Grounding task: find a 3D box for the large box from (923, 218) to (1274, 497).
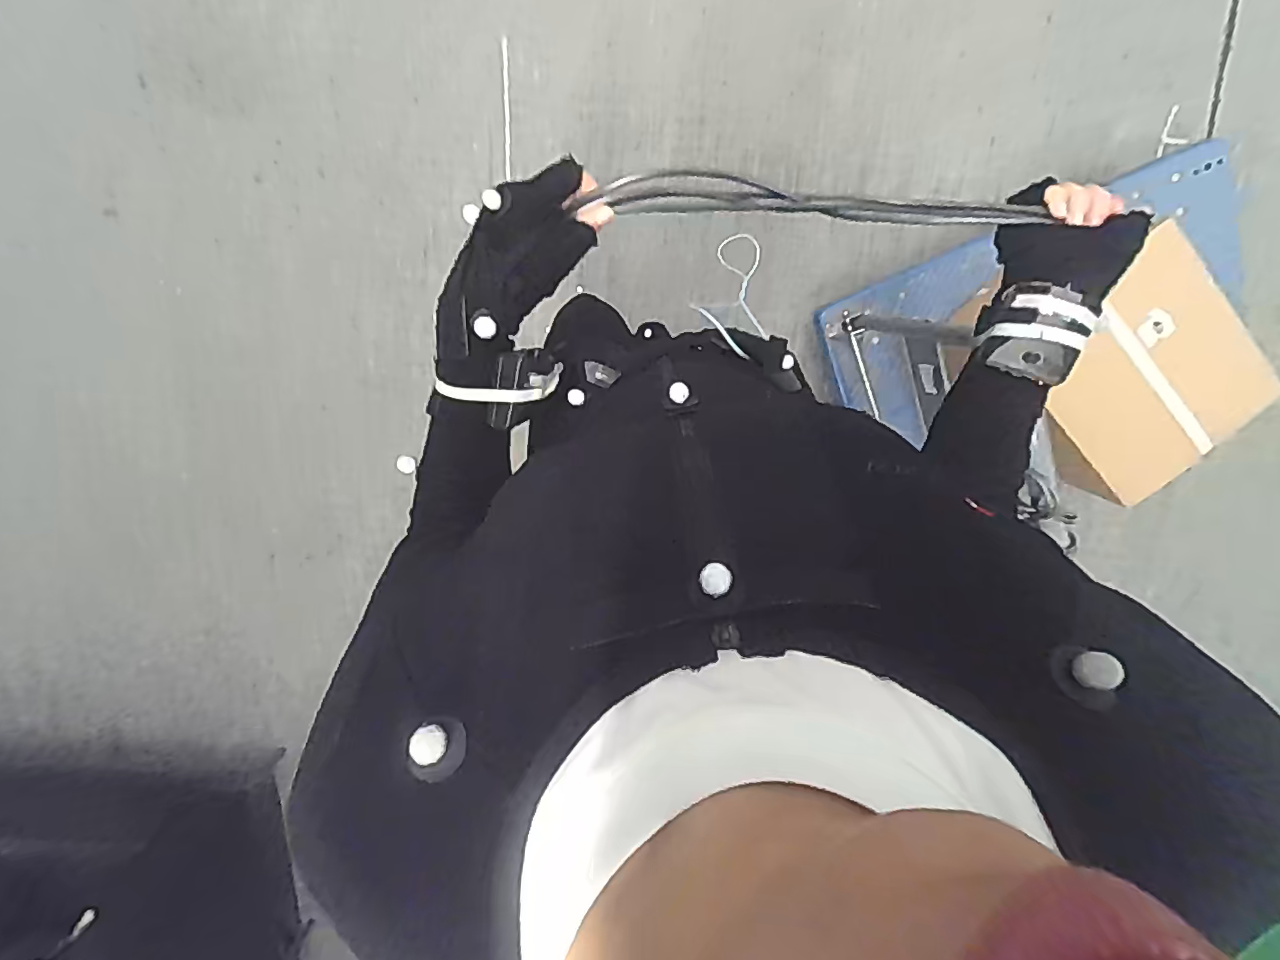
[{"bbox_3d":[0.881,-0.242,1.094,0.408,0.320,0.320,44,103,-11],"label":"large box"}]
